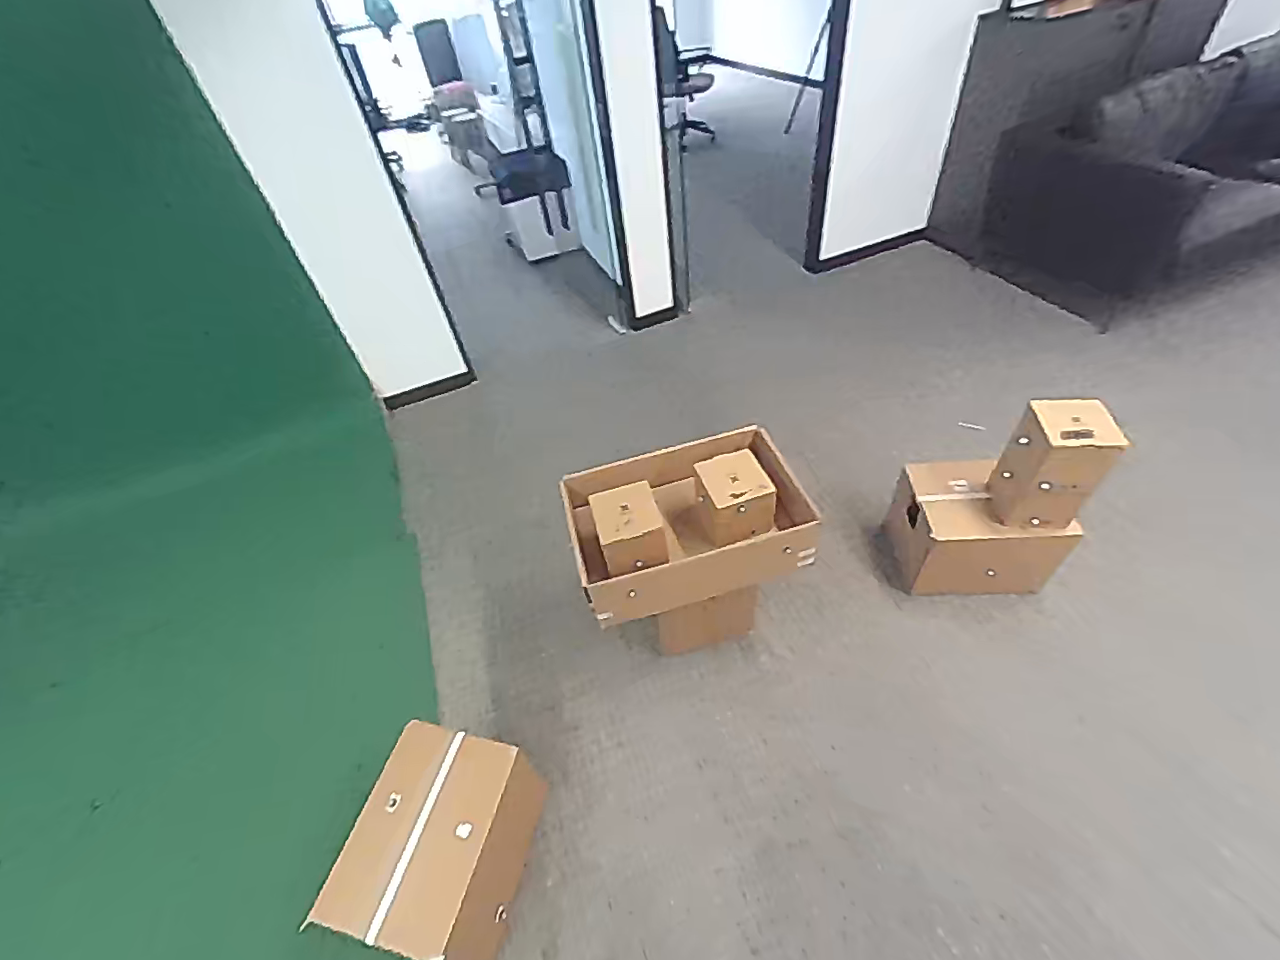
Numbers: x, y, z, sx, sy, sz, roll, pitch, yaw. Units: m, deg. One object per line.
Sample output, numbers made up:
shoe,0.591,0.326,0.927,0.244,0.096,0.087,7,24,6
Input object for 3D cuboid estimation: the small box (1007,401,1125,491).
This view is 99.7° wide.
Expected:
small box,1.097,-0.087,1.409,0.168,0.176,0.179,1,47,11

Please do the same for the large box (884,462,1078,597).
large box,1.061,0.162,1.745,0.408,0.320,0.320,-4,46,6

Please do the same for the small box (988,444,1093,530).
small box,1.120,0.019,1.532,0.168,0.176,0.179,1,49,11
